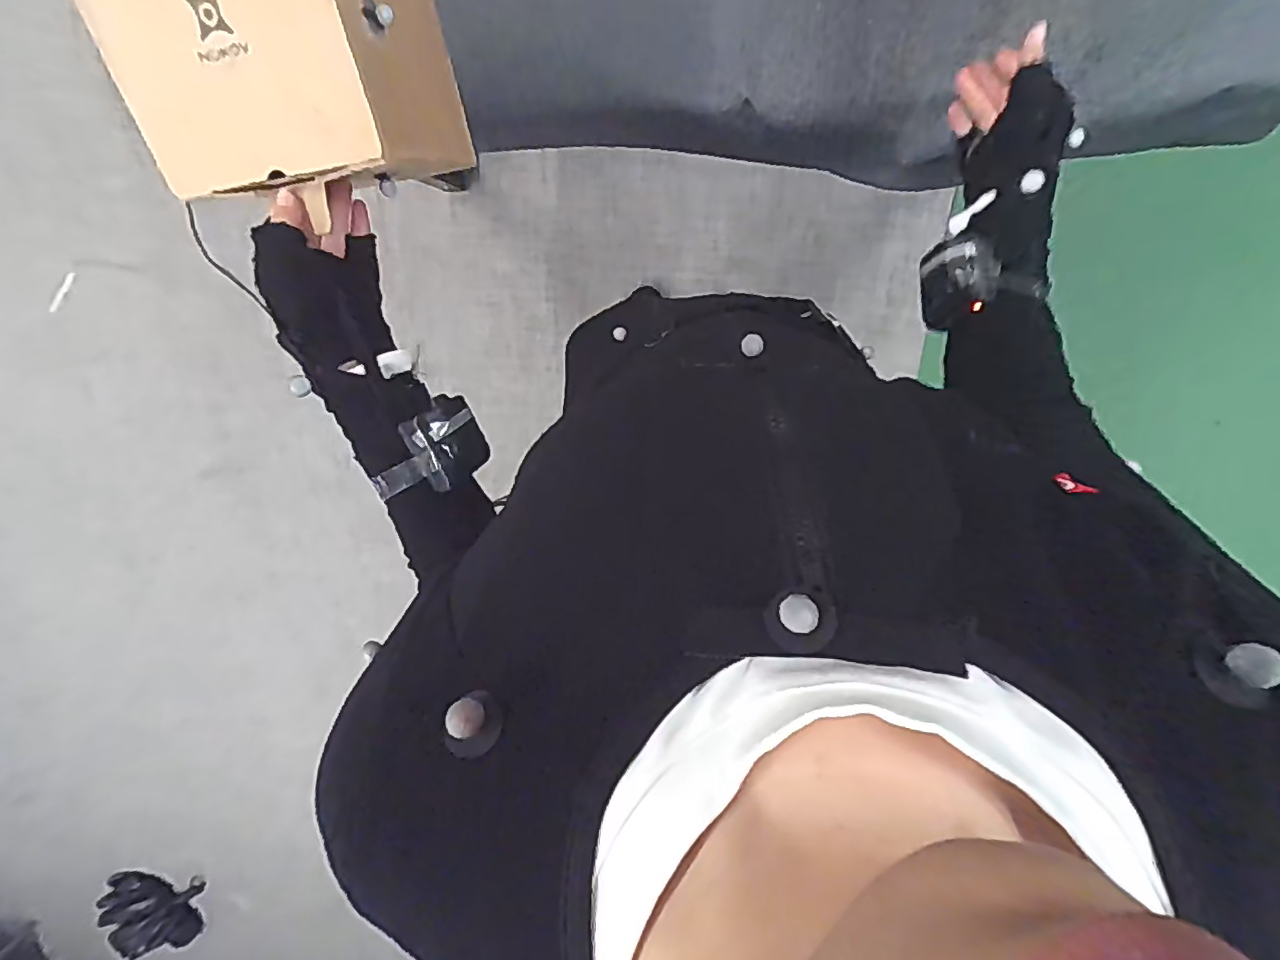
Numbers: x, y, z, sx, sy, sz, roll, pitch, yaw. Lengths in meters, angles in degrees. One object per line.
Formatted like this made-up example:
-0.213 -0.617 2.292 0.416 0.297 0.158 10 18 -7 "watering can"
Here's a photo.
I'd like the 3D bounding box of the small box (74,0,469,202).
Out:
-0.248 -0.315 0.393 0.168 0.176 0.179 -6 118 9 "small box"
